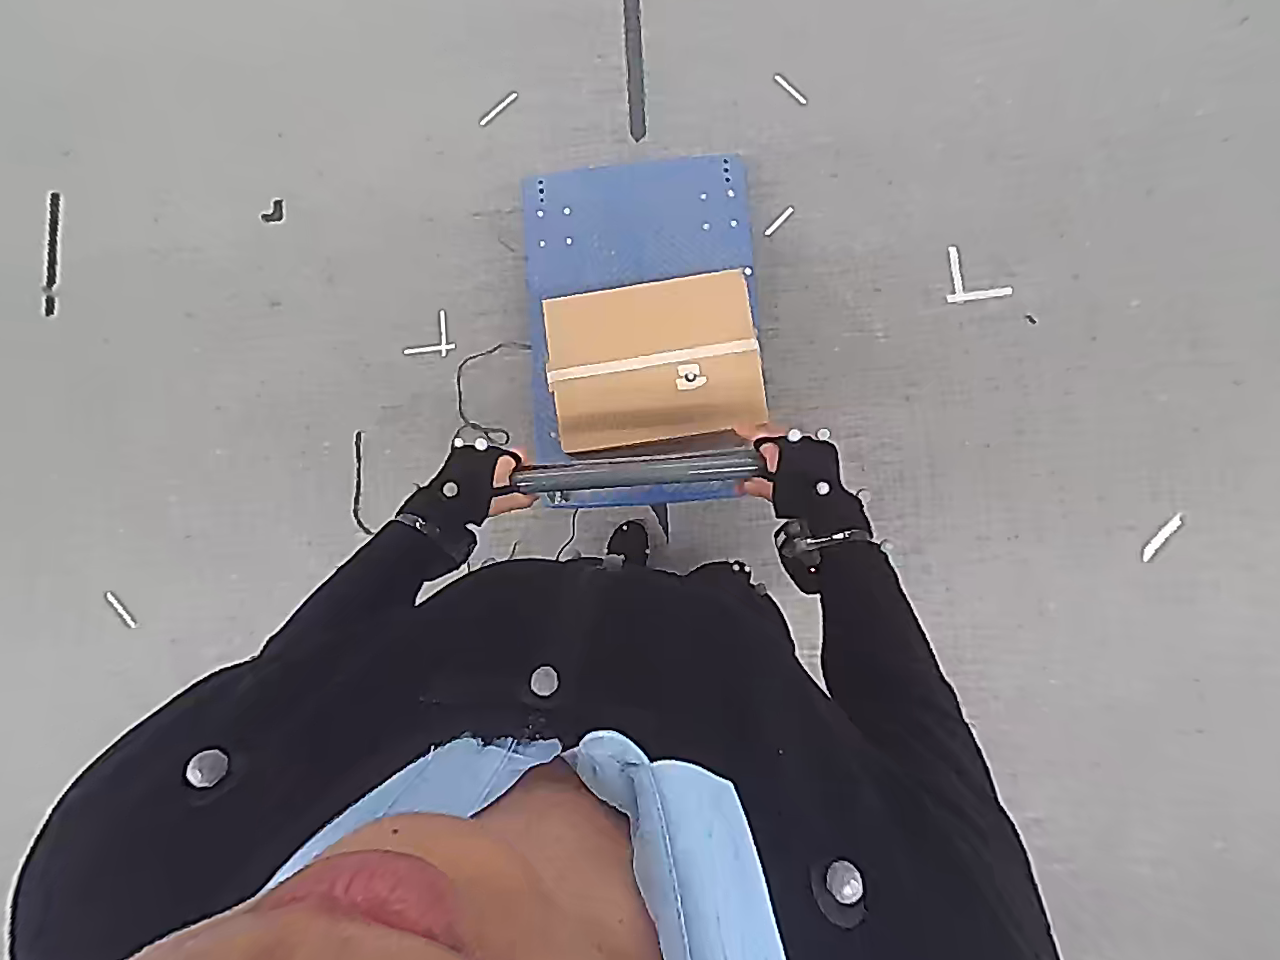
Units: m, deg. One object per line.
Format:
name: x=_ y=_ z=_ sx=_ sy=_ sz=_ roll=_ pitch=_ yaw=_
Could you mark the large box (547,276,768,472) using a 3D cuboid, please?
large box: x=0.036 y=-0.210 z=1.208 sx=0.408 sy=0.320 sz=0.320 roll=-8 pitch=86 yaw=2
